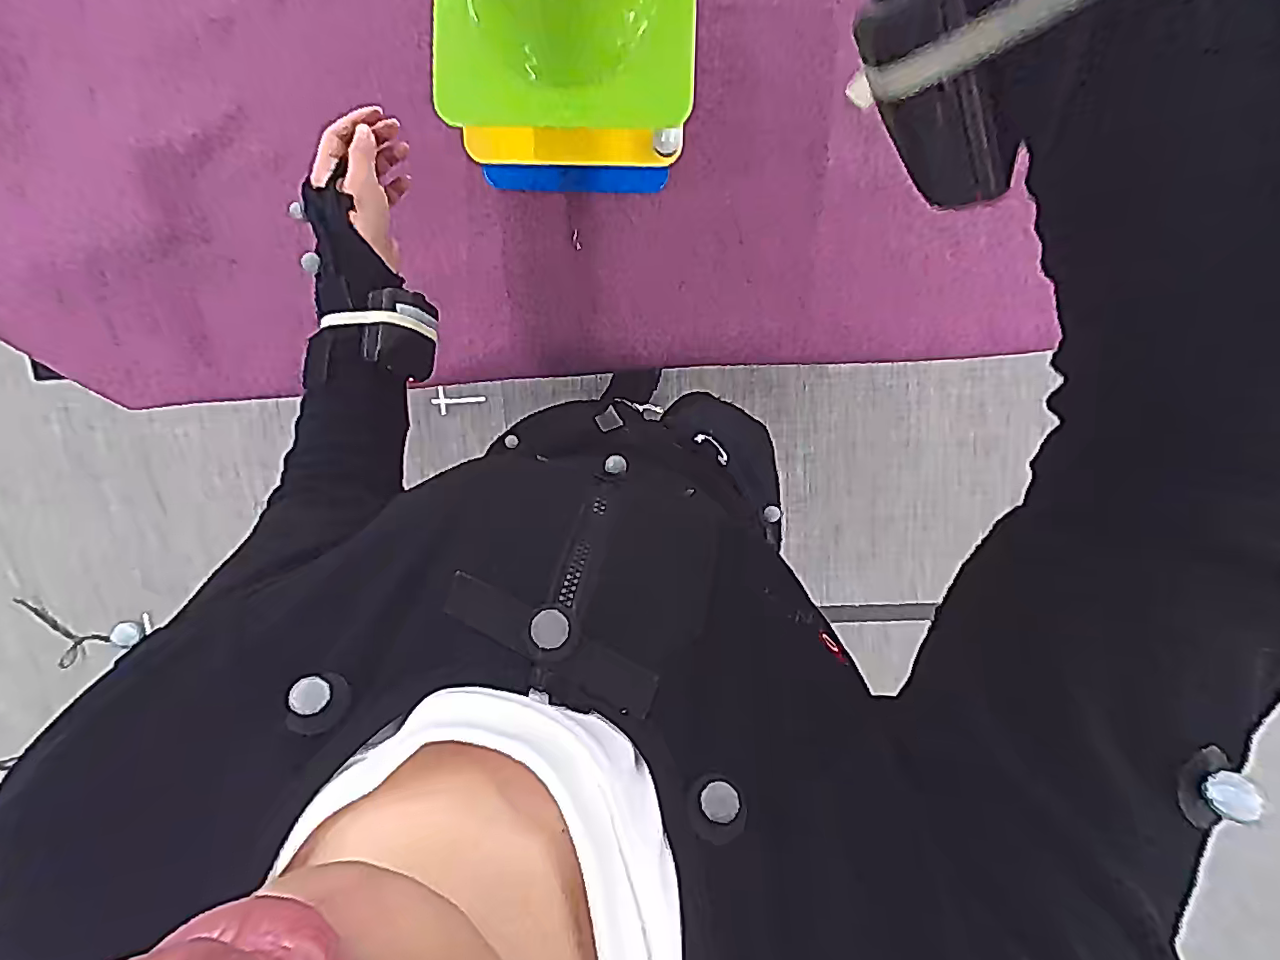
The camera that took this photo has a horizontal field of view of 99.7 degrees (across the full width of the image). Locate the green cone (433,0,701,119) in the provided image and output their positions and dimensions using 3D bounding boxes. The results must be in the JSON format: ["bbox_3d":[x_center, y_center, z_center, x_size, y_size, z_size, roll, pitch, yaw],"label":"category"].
[{"bbox_3d":[-0.061,-0.360,0.227,0.200,0.368,0.202,1,94,2],"label":"green cone"}]
